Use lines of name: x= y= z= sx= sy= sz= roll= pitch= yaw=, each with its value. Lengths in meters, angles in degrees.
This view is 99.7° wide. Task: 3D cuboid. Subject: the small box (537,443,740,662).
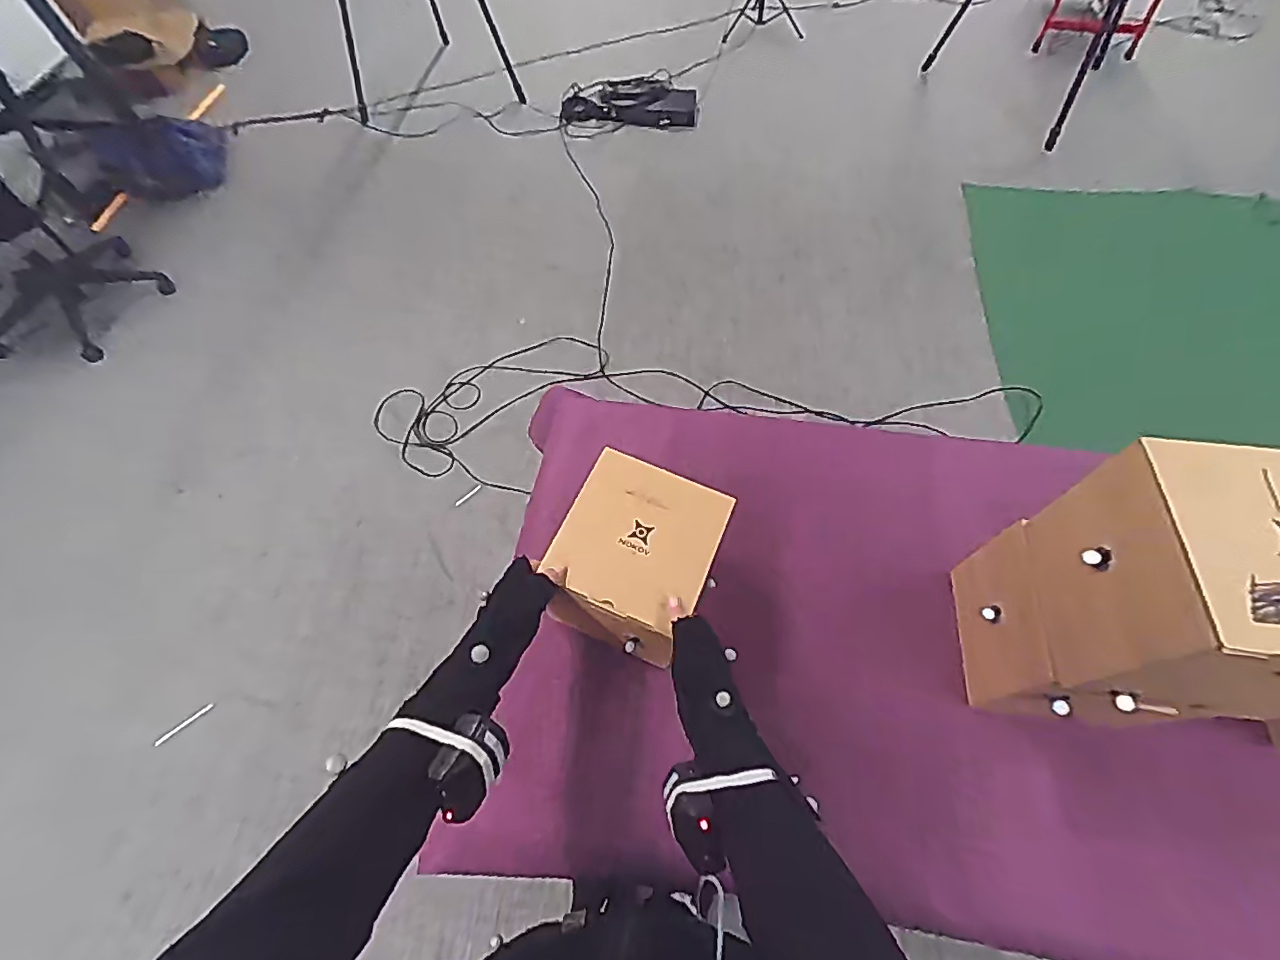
small box: x=-0.001 y=0.093 z=0.637 sx=0.168 sy=0.176 sz=0.179 roll=22 pitch=62 yaw=7

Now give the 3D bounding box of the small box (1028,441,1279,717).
small box: x=0.476 y=0.091 z=0.459 sx=0.168 sy=0.176 sz=0.179 roll=6 pitch=59 yaw=5
